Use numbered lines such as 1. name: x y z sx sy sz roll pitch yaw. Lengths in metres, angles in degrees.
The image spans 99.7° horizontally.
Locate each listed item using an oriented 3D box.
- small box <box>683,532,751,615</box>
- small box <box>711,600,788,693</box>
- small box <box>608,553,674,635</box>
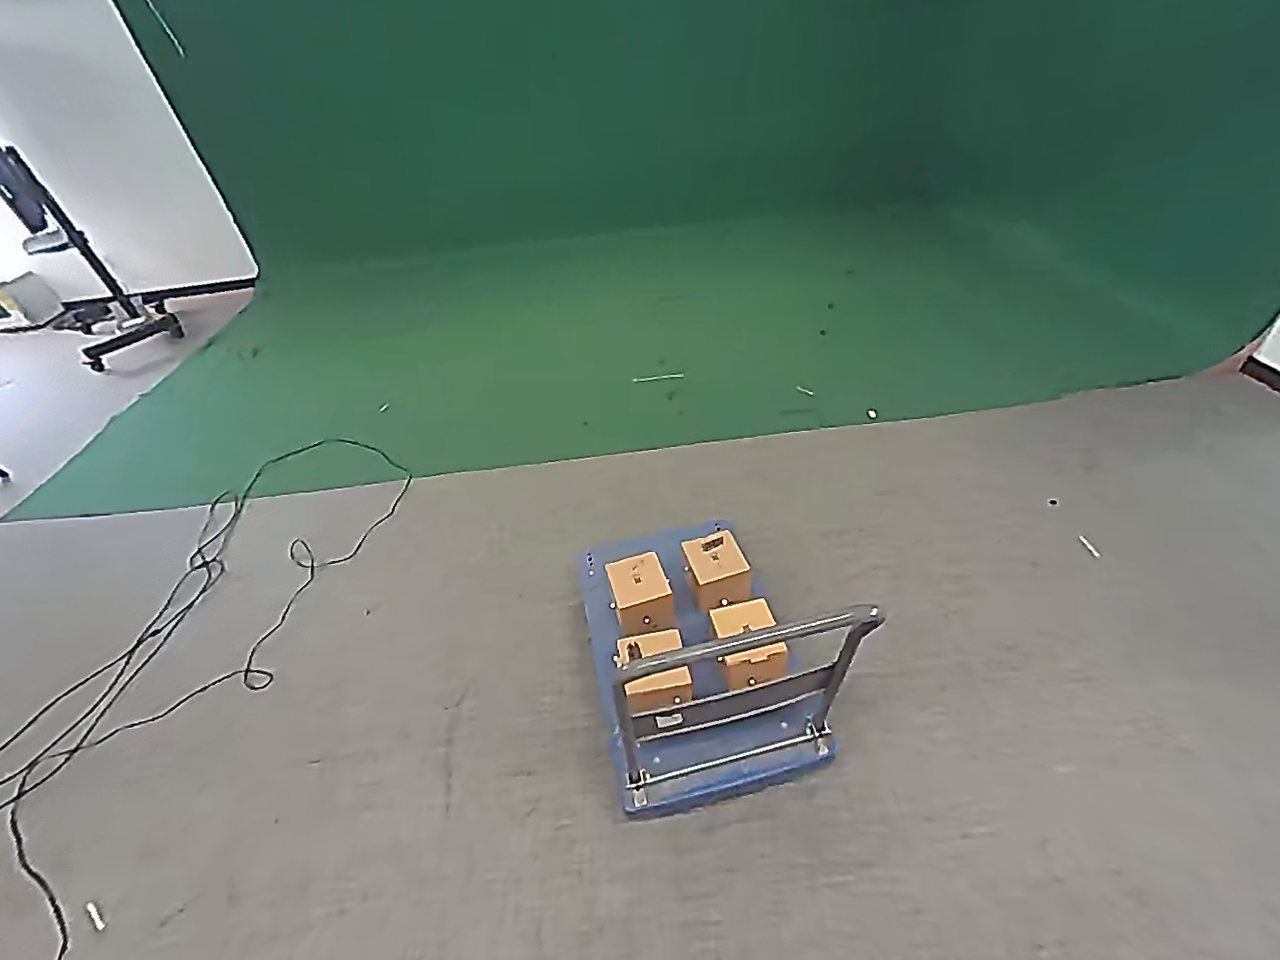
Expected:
1. small box: 0.245 0.303 1.747 0.168 0.176 0.179 -15 43 -8
2. small box: 0.305 0.477 1.548 0.168 0.176 0.179 -12 42 -5
3. small box: 0.005 0.367 1.708 0.168 0.176 0.179 -14 42 -9
